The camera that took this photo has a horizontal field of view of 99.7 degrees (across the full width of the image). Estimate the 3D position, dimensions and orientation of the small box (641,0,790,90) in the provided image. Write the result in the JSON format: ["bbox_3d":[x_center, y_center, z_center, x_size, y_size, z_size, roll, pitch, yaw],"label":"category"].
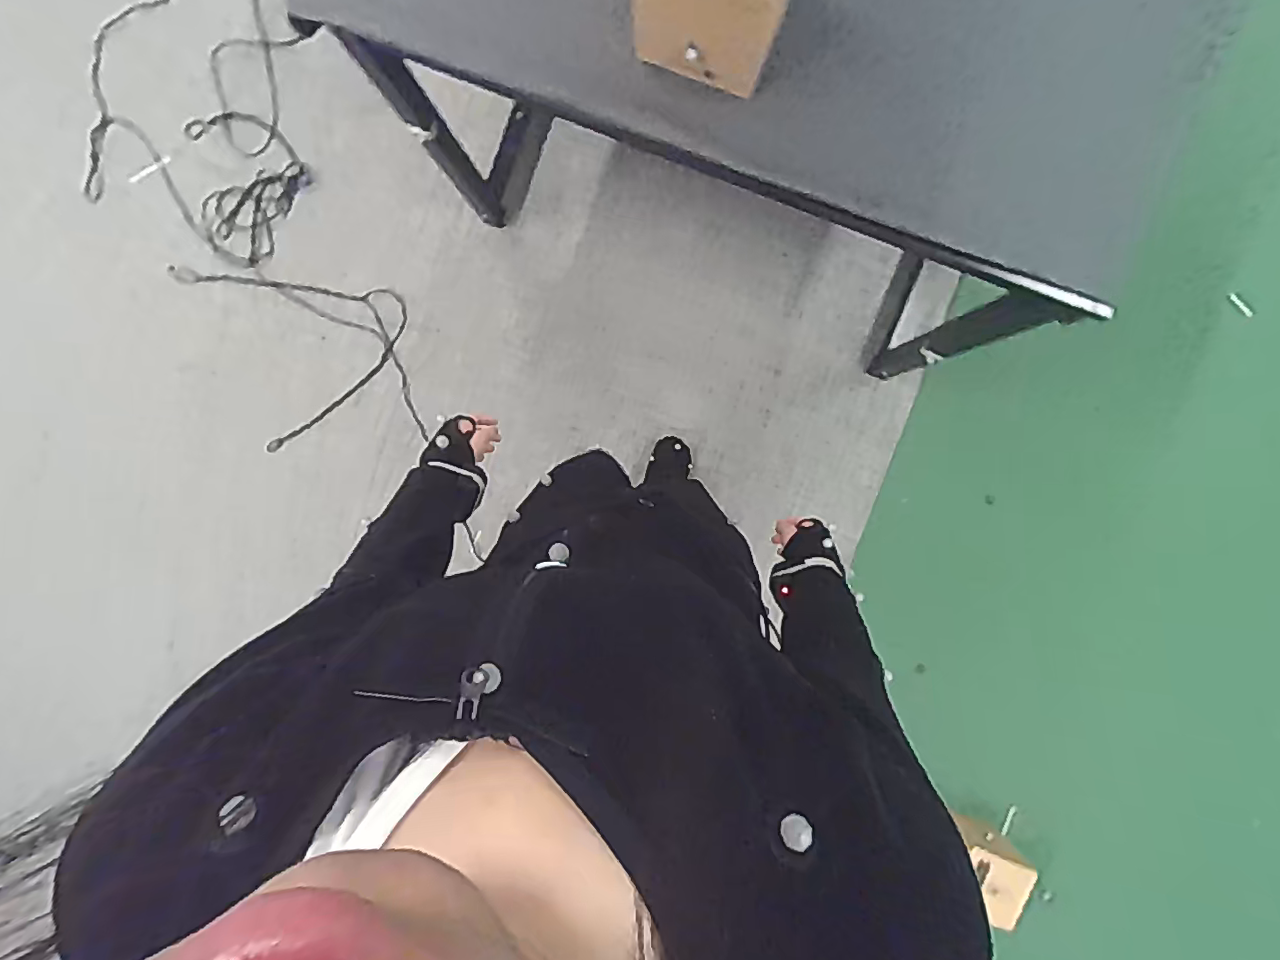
[{"bbox_3d":[0.102,-0.622,0.637,0.168,0.176,0.179,23,93,2],"label":"small box"}]
